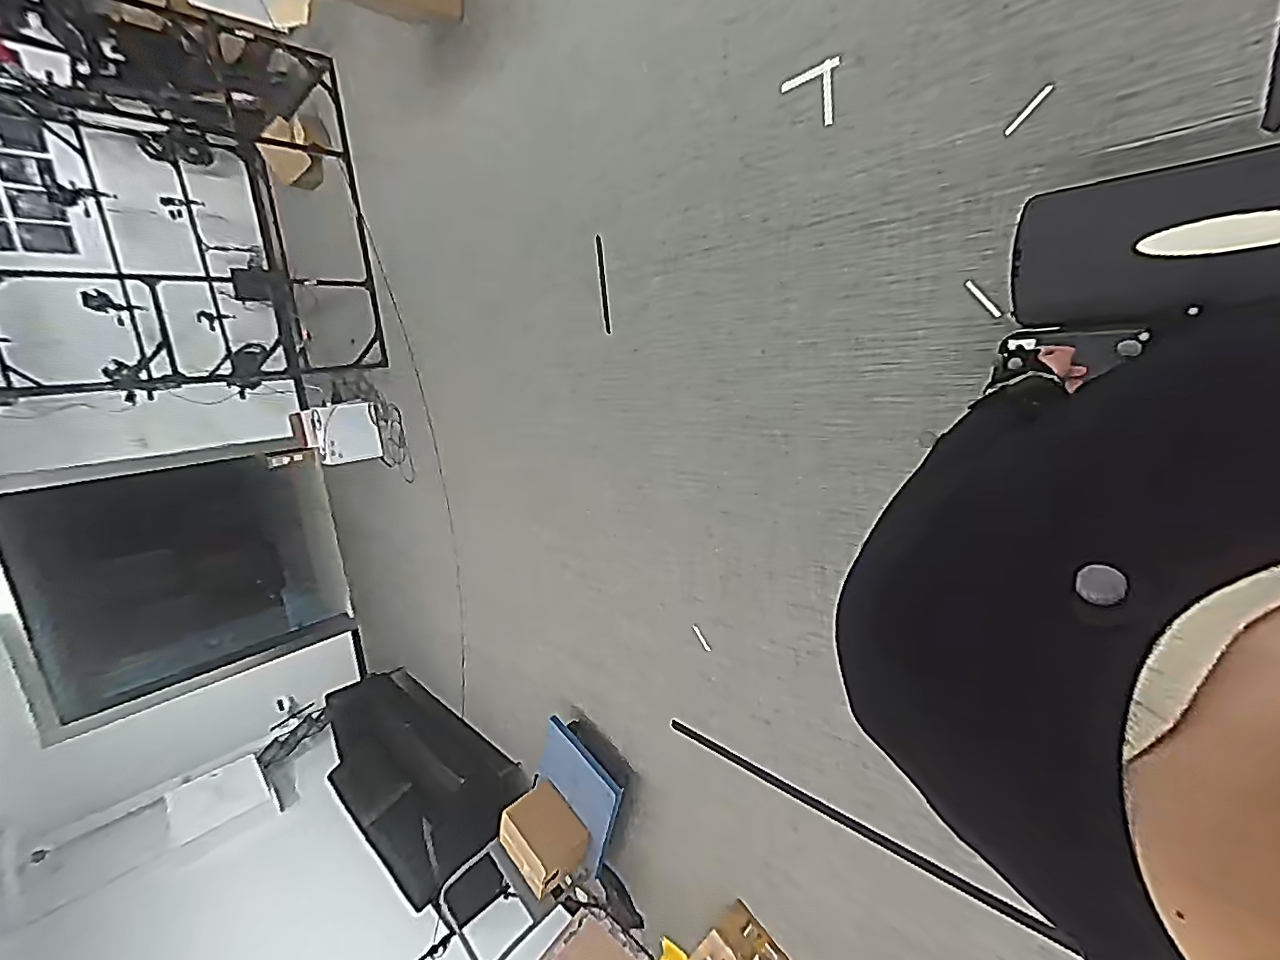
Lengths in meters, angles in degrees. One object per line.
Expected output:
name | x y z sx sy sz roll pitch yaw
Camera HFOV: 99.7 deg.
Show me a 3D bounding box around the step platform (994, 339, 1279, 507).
step platform | 1.086 -0.120 1.032 0.684 0.204 0.286 16 112 45
